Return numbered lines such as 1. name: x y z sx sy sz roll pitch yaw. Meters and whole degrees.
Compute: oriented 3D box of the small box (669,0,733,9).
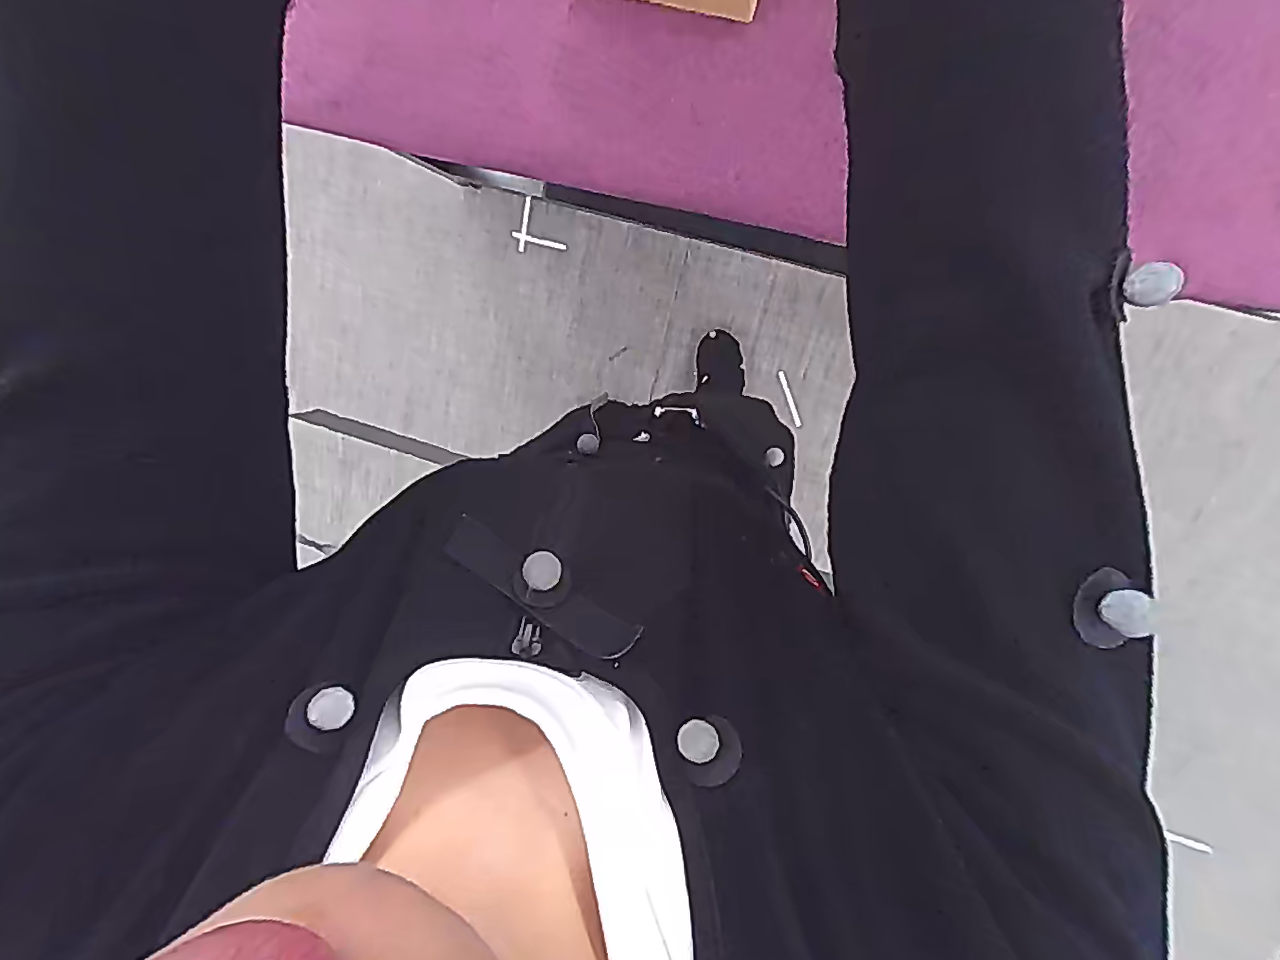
1. small box: 0.025 -0.492 0.390 0.179 0.176 0.168 17 106 5
